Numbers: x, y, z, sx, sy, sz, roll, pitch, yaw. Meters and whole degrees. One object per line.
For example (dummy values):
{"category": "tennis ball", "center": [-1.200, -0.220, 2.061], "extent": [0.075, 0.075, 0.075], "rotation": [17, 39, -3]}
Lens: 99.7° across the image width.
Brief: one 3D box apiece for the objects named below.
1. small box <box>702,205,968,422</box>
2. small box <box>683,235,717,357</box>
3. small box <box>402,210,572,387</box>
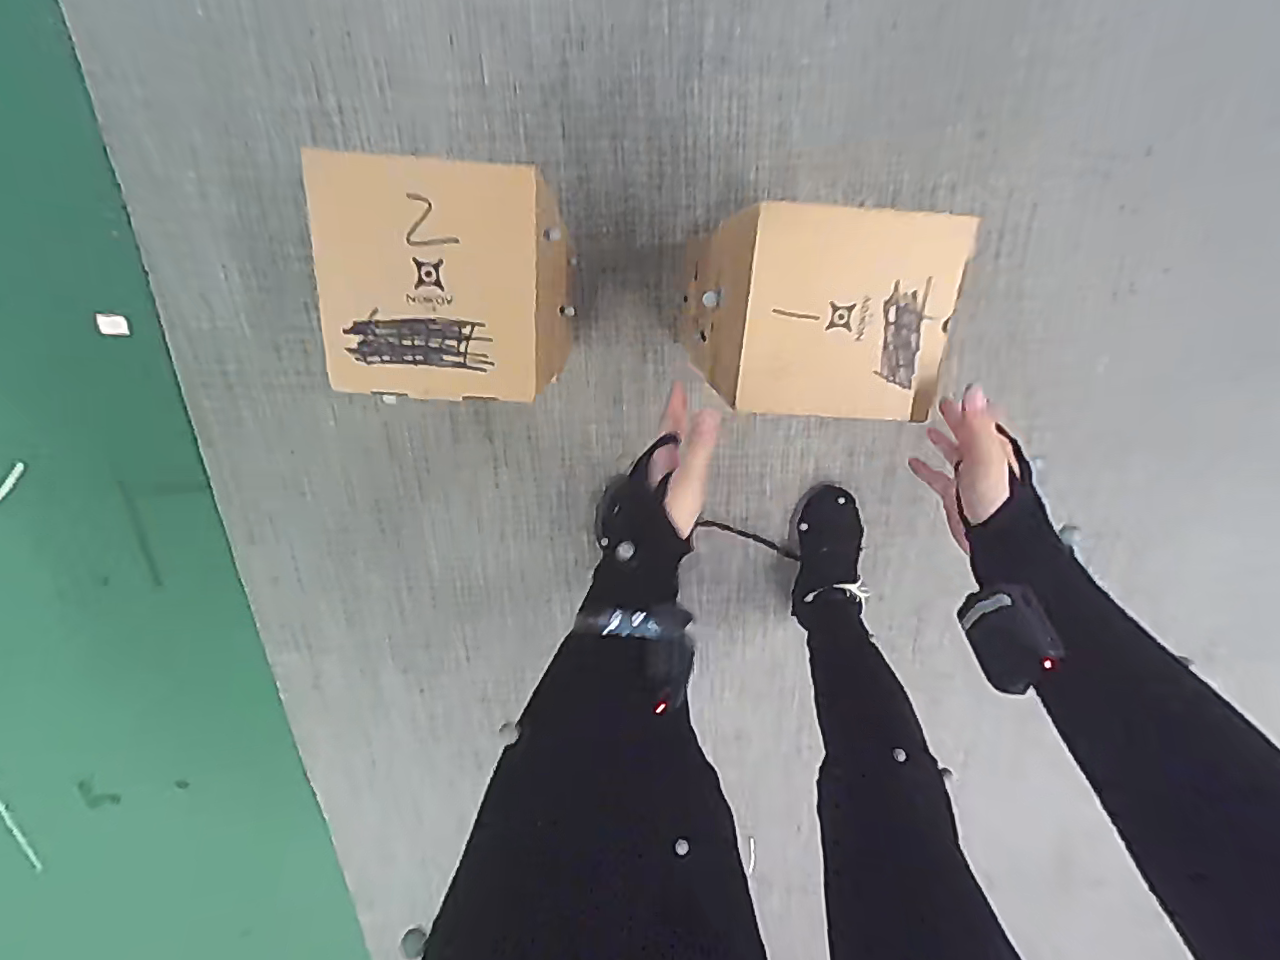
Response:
{"category": "small box", "center": [0.166, -0.159, 0.524], "extent": [0.179, 0.176, 0.168], "rotation": [3, 109, -3]}
{"category": "small box", "center": [0.160, -0.279, 0.829], "extent": [0.179, 0.176, 0.168], "rotation": [-1, 110, -2]}
{"category": "small box", "center": [-0.172, -0.218, 0.661], "extent": [0.168, 0.176, 0.179], "rotation": [2, 108, -4]}
